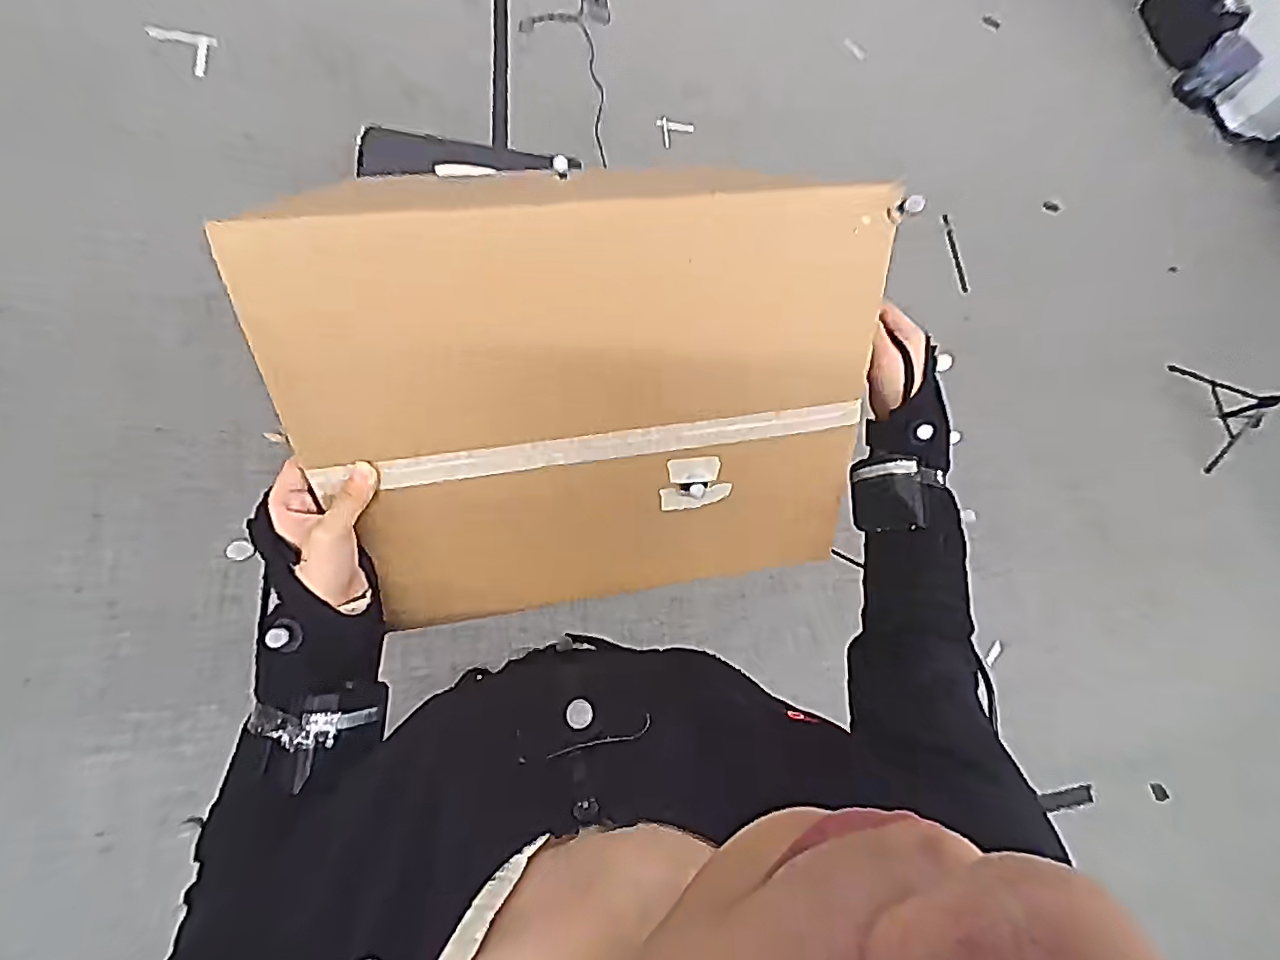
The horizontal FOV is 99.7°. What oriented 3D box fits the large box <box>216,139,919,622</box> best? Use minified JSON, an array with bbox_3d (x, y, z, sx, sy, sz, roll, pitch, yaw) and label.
[{"bbox_3d":[-0.047,-0.123,0.501,0.408,0.320,0.320,-9,35,-9],"label":"large box"}]
